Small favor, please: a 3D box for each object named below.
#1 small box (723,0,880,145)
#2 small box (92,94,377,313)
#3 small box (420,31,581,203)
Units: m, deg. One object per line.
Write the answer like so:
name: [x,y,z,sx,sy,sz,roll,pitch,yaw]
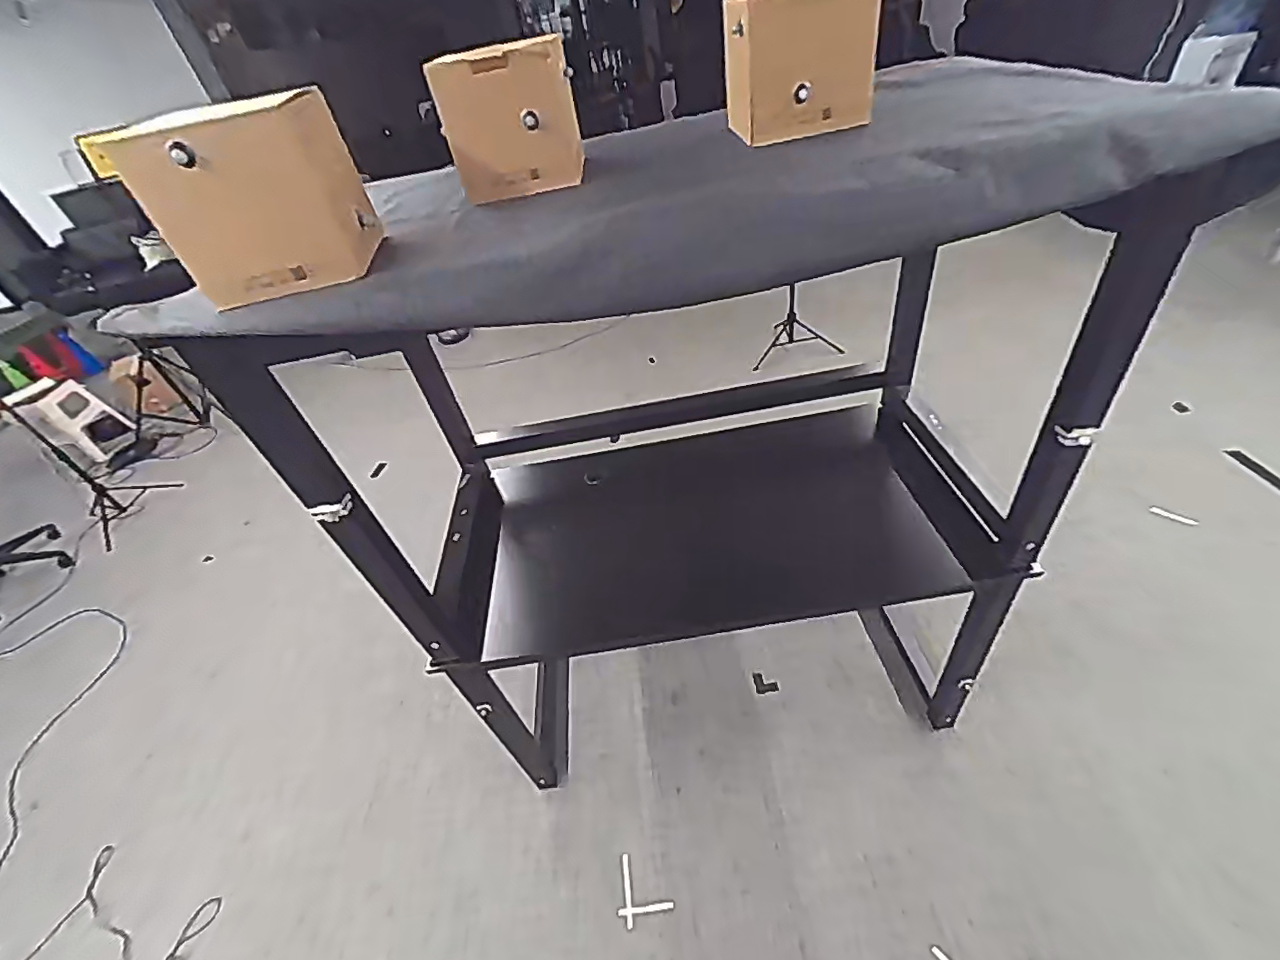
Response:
small box: [0.215,-0.592,0.762,0.168,0.176,0.179,-10,42,3]
small box: [-0.419,-0.309,0.604,0.168,0.176,0.179,-15,42,-3]
small box: [-0.184,-0.514,0.775,0.168,0.176,0.179,-8,42,4]
